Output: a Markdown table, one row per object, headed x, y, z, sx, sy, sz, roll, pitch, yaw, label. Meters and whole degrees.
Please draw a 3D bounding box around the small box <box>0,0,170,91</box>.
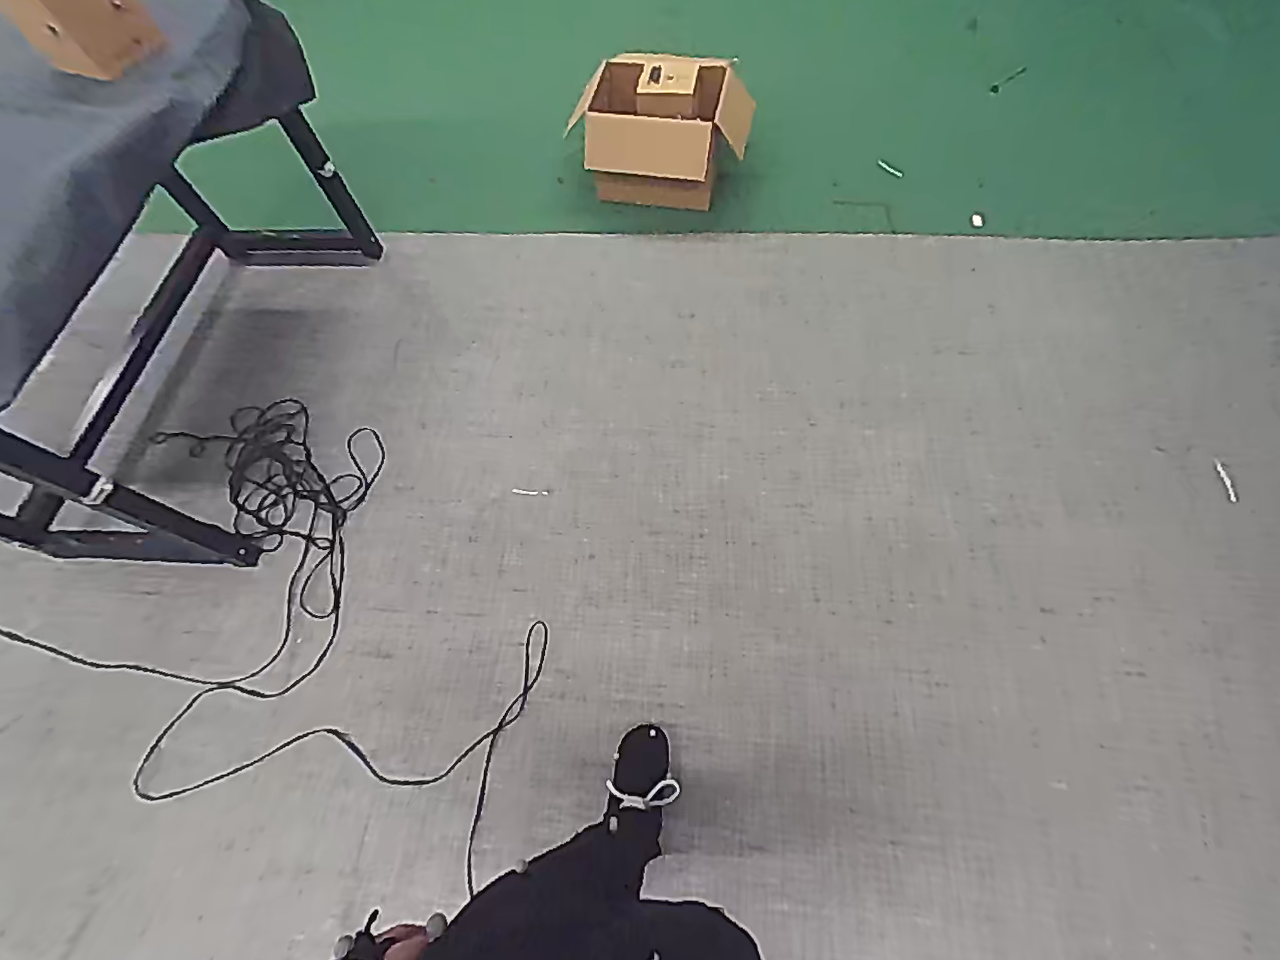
| x | y | z | sx | sy | sz | roll | pitch | yaw | label |
| --- | --- | --- | --- | --- | --- | --- | --- | --- | --- |
| -1.137 | -0.935 | 1.107 | 0.179 | 0.176 | 0.168 | 19 | 65 | 14 | small box |
